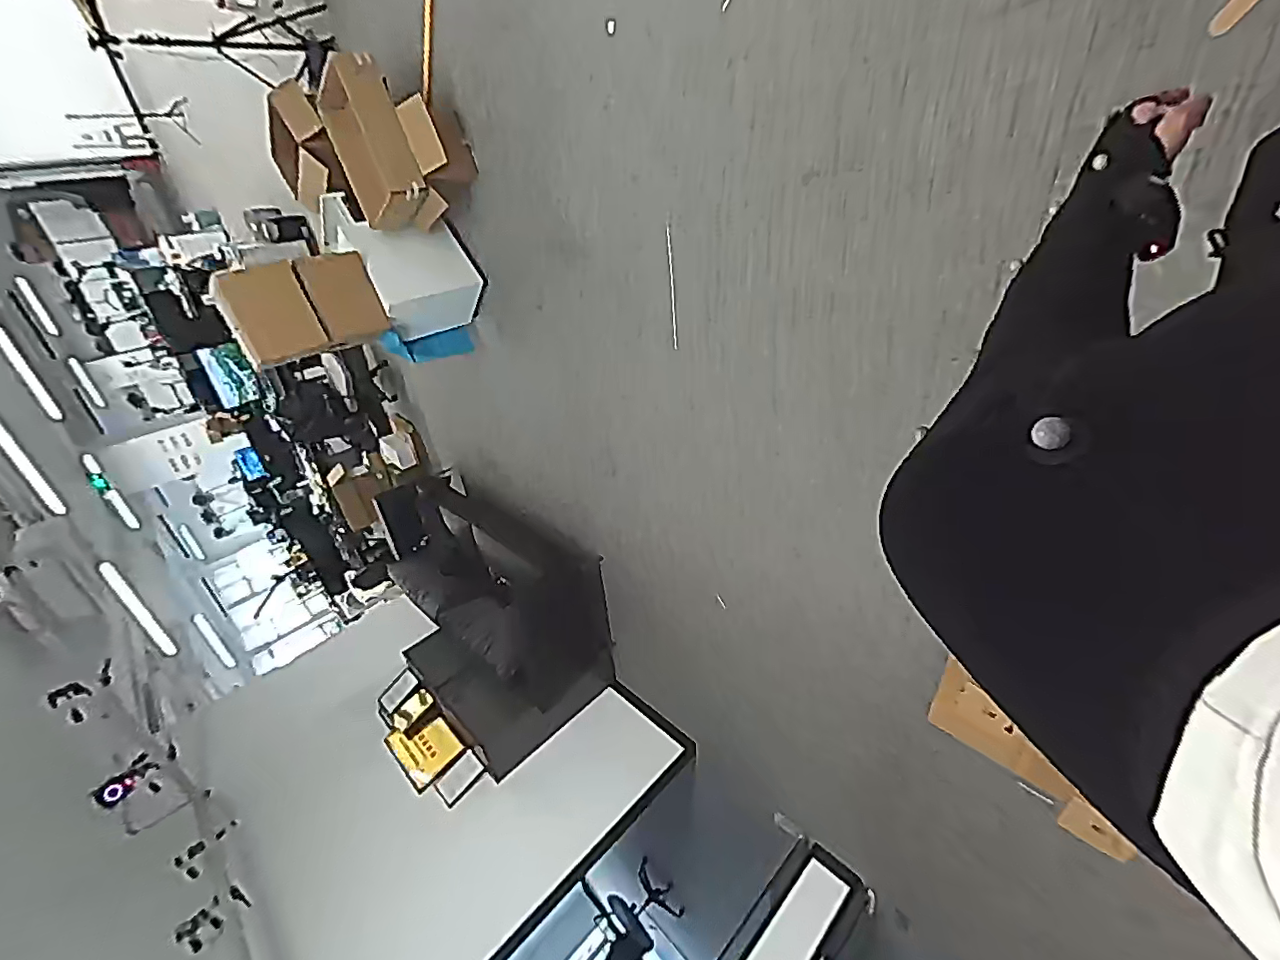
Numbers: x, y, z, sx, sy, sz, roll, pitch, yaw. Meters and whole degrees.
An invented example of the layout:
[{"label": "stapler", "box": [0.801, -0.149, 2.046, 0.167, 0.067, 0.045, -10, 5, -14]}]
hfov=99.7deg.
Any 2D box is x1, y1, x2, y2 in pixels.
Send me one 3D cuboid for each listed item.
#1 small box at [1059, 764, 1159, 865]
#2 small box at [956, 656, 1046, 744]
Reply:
[{"label": "small box", "box": [1.434, 1.010, 1.654, 0.179, 0.176, 0.168, 26, 134, 38]}, {"label": "small box", "box": [1.175, 0.706, 1.760, 0.179, 0.176, 0.168, 28, 135, 37]}]
